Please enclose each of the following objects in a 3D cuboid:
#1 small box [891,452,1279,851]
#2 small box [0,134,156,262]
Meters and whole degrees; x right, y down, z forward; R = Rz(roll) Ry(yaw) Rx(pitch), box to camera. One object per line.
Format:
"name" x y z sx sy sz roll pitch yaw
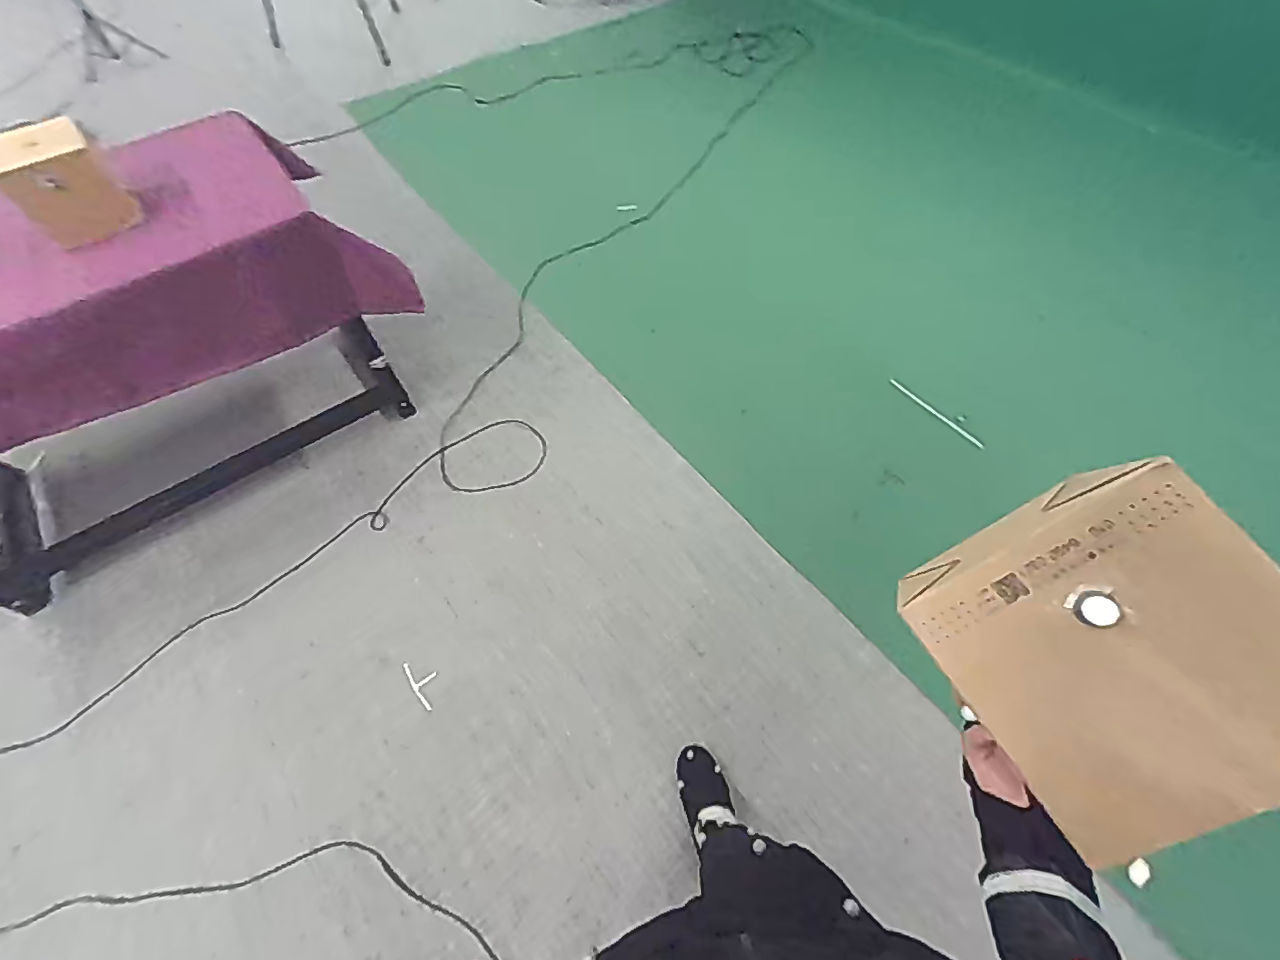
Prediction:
"small box" 0.298 0.097 0.375 0.168 0.179 0.176 -41 70 19
"small box" -1.223 -0.610 1.180 0.179 0.176 0.168 -33 63 -18
